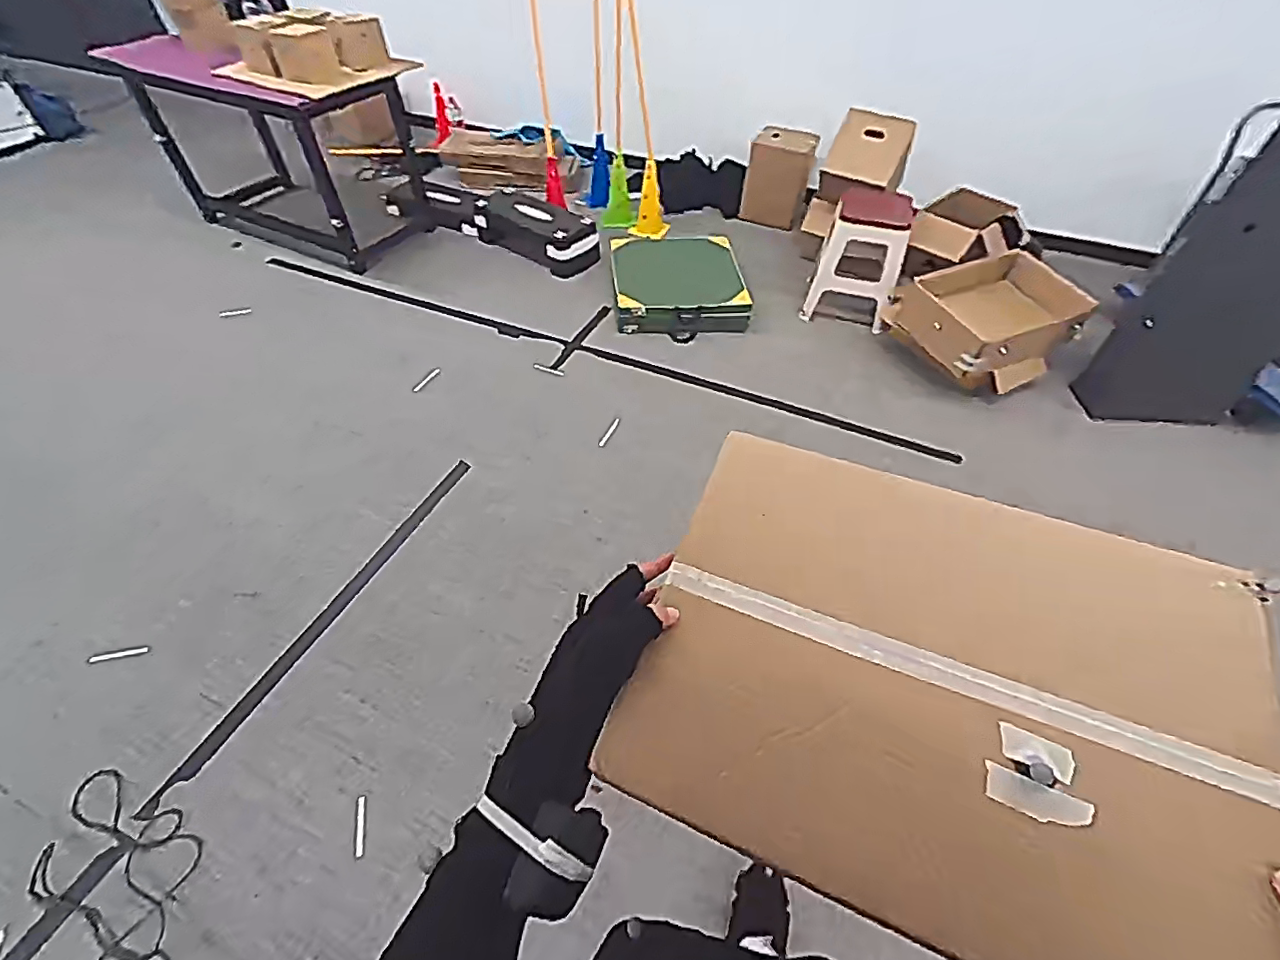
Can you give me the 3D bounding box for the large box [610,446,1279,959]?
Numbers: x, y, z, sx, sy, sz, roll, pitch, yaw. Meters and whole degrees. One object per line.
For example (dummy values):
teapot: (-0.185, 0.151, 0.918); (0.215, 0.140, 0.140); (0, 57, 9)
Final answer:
large box: (0.227, 0.219, 0.526); (0.408, 0.320, 0.320); (18, 62, 17)
